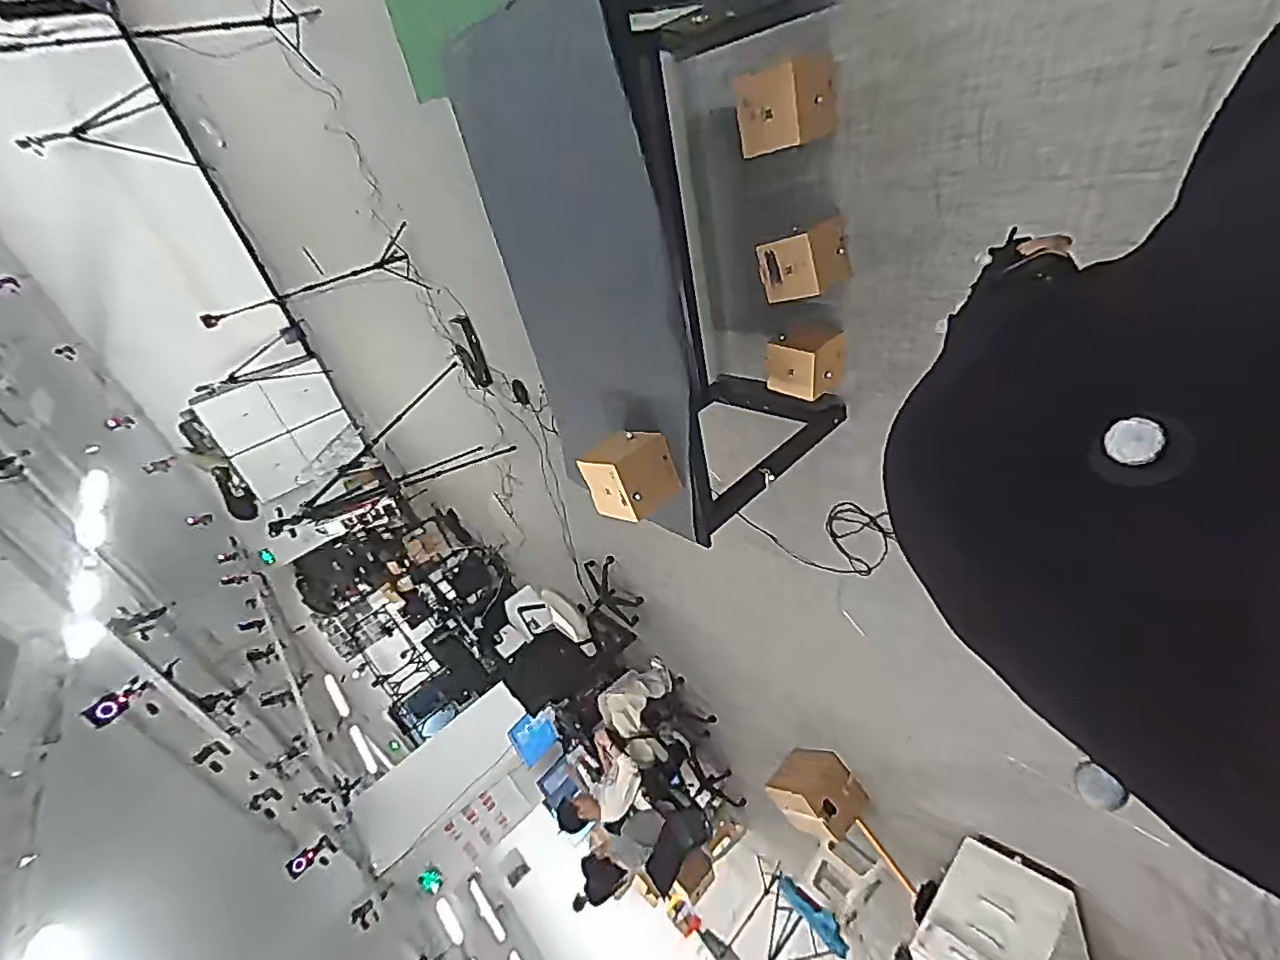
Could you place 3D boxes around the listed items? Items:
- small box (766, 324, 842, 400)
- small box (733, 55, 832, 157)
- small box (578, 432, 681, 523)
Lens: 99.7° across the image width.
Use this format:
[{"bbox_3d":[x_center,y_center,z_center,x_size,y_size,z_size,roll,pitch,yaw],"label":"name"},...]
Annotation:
[{"bbox_3d":[0.522,-0.381,1.716,0.179,0.176,0.168,27,142,40],"label":"small box"},{"bbox_3d":[0.365,-0.935,1.355,0.179,0.176,0.168,19,135,47],"label":"small box"},{"bbox_3d":[-0.024,-0.015,1.393,0.179,0.176,0.168,10,129,52],"label":"small box"}]
